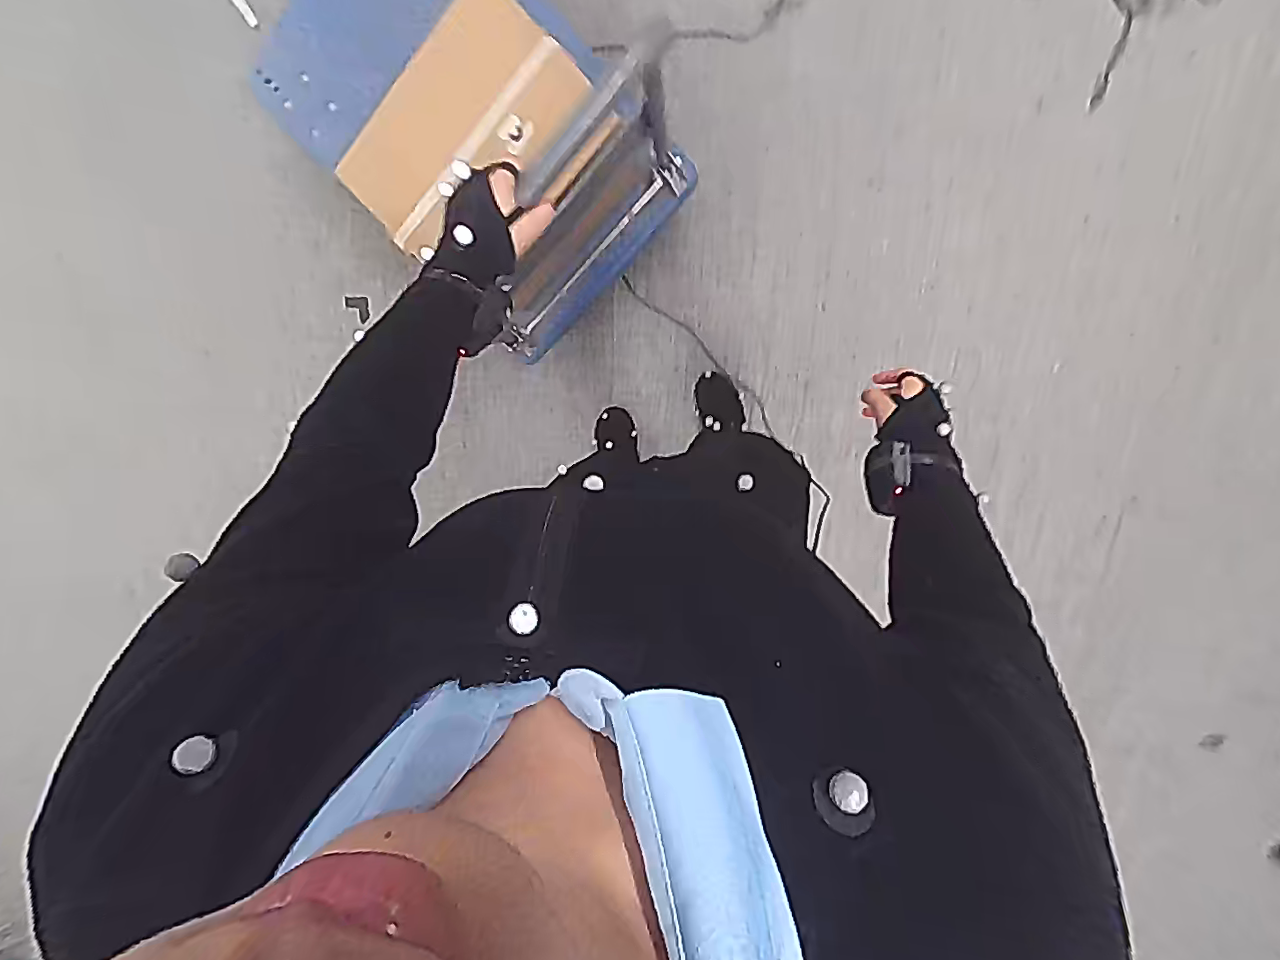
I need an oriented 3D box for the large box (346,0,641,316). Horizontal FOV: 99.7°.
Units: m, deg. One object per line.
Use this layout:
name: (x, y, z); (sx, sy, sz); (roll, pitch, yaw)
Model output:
large box: (-0.253, -0.579, 1.047); (0.408, 0.320, 0.320); (-43, 97, 14)
